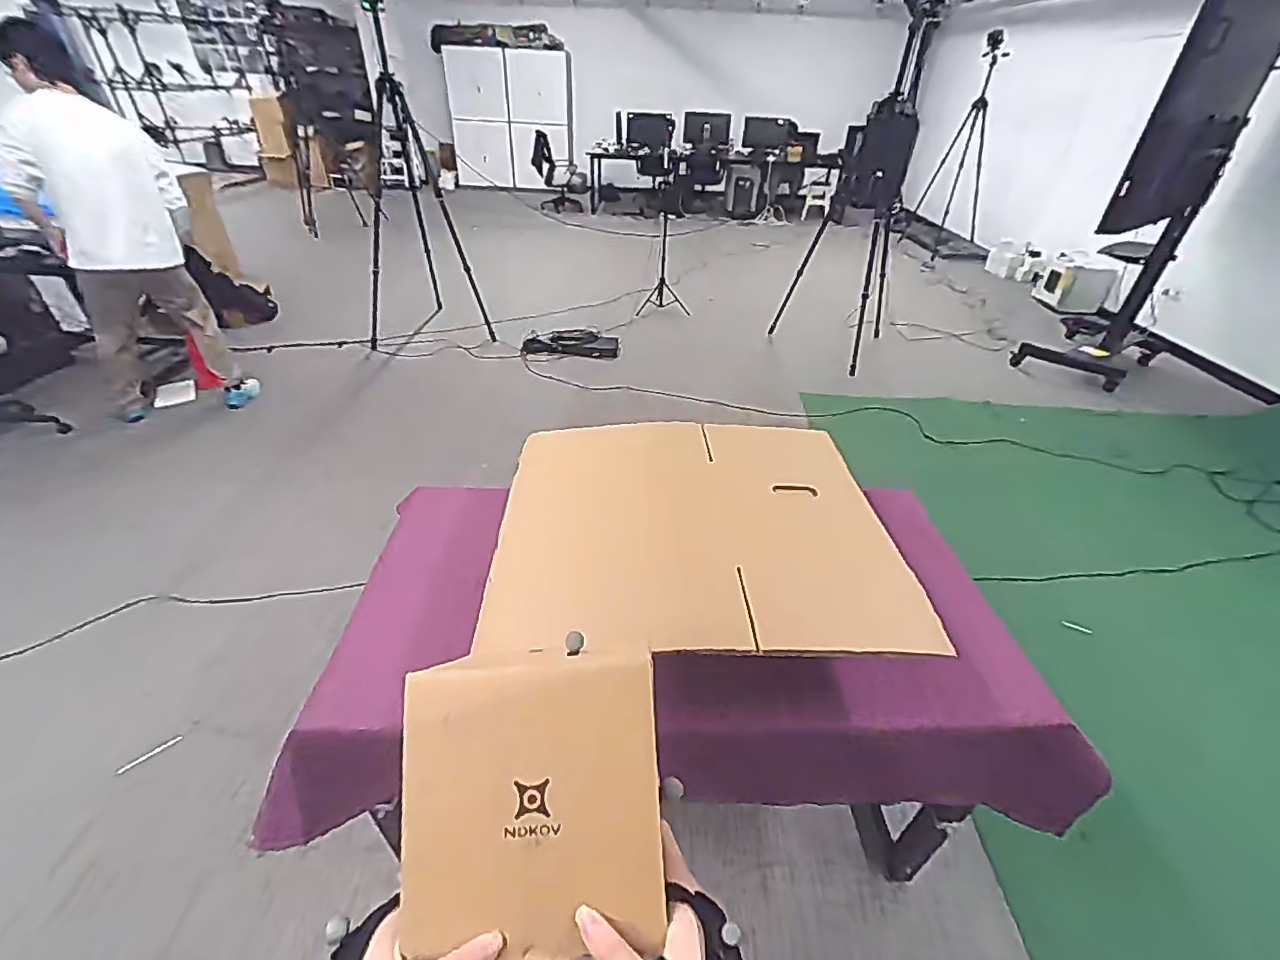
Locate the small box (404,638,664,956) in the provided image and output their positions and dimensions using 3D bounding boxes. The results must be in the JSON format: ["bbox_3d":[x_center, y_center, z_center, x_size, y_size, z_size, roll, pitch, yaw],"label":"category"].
[{"bbox_3d":[-0.071,0.224,0.434,0.168,0.176,0.179,-4,80,-1],"label":"small box"}]
